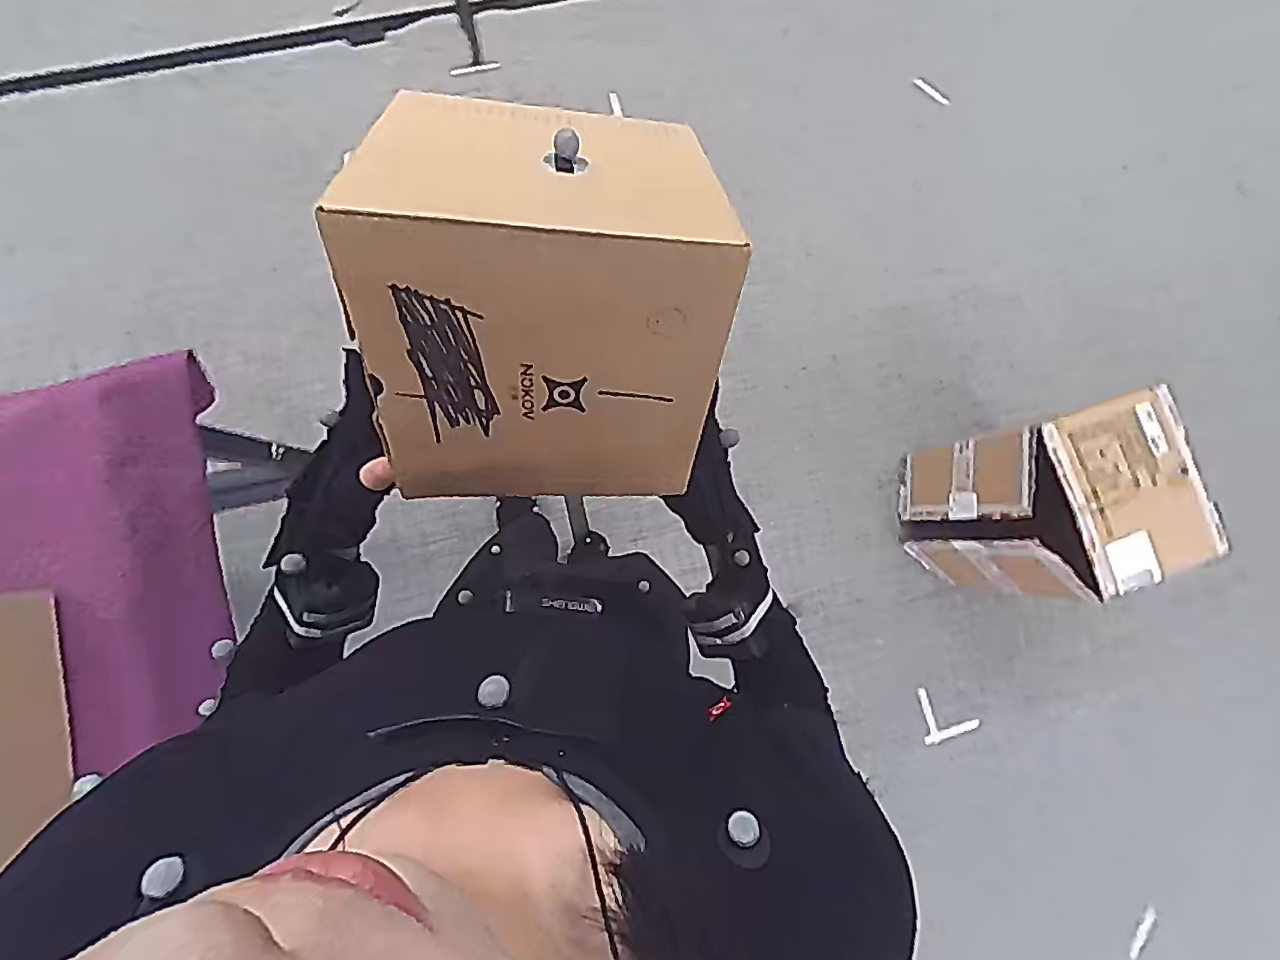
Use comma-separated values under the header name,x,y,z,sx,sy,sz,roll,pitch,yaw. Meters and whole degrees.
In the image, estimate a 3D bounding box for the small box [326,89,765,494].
name,x,y,z,sx,sy,sz,roll,pitch,yaw
small box,-0.050,-0.110,0.324,0.179,0.168,0.176,1,48,-9
